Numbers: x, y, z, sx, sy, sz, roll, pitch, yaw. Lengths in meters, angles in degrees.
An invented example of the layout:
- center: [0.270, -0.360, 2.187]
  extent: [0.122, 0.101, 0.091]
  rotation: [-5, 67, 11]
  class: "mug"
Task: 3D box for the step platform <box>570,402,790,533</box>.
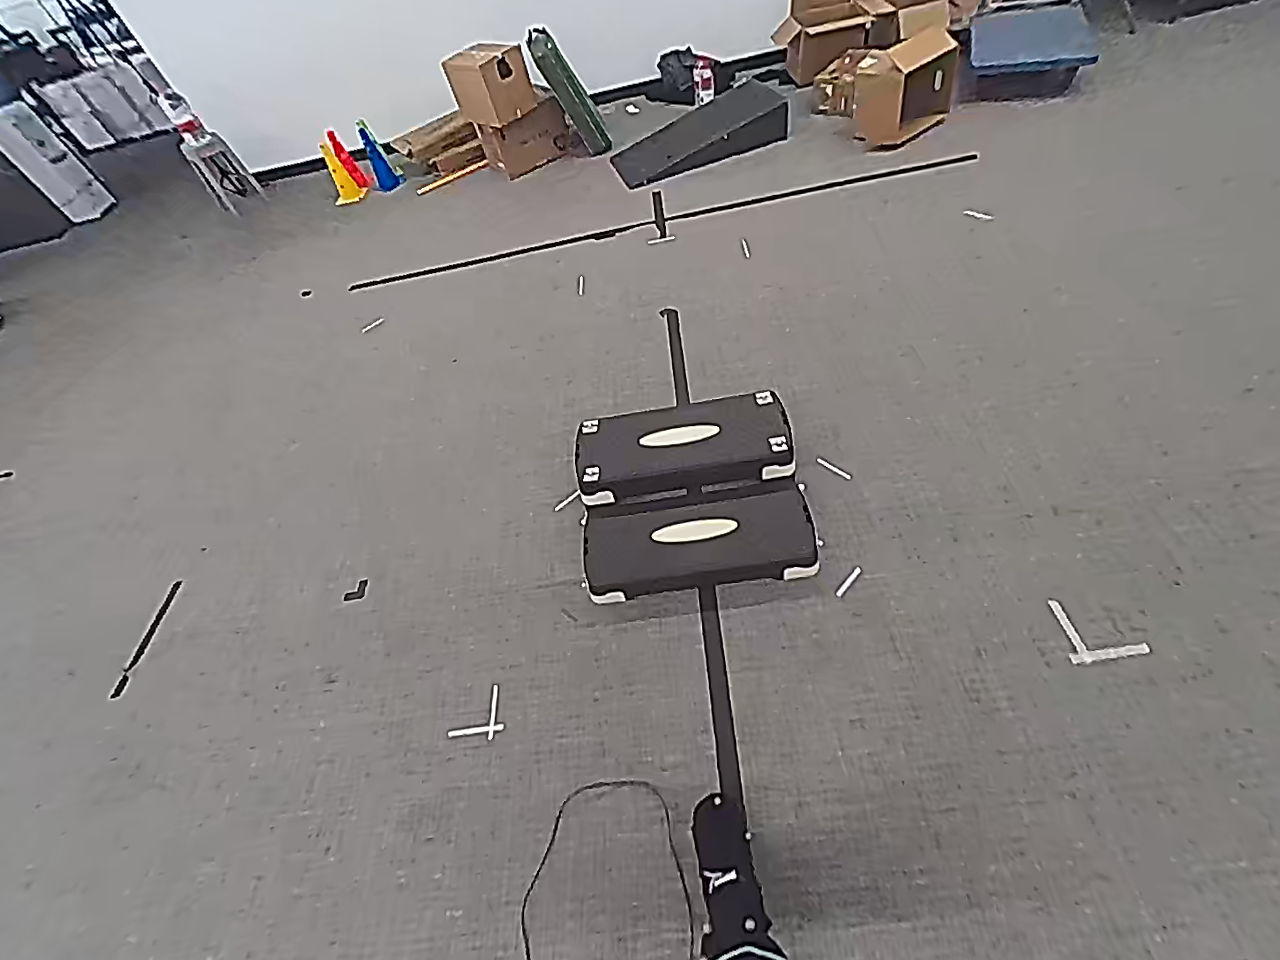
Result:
- center: [0.121, -0.043, 1.719]
  extent: [0.684, 0.204, 0.286]
  rotation: [-9, 52, 5]
  class: "step platform"
